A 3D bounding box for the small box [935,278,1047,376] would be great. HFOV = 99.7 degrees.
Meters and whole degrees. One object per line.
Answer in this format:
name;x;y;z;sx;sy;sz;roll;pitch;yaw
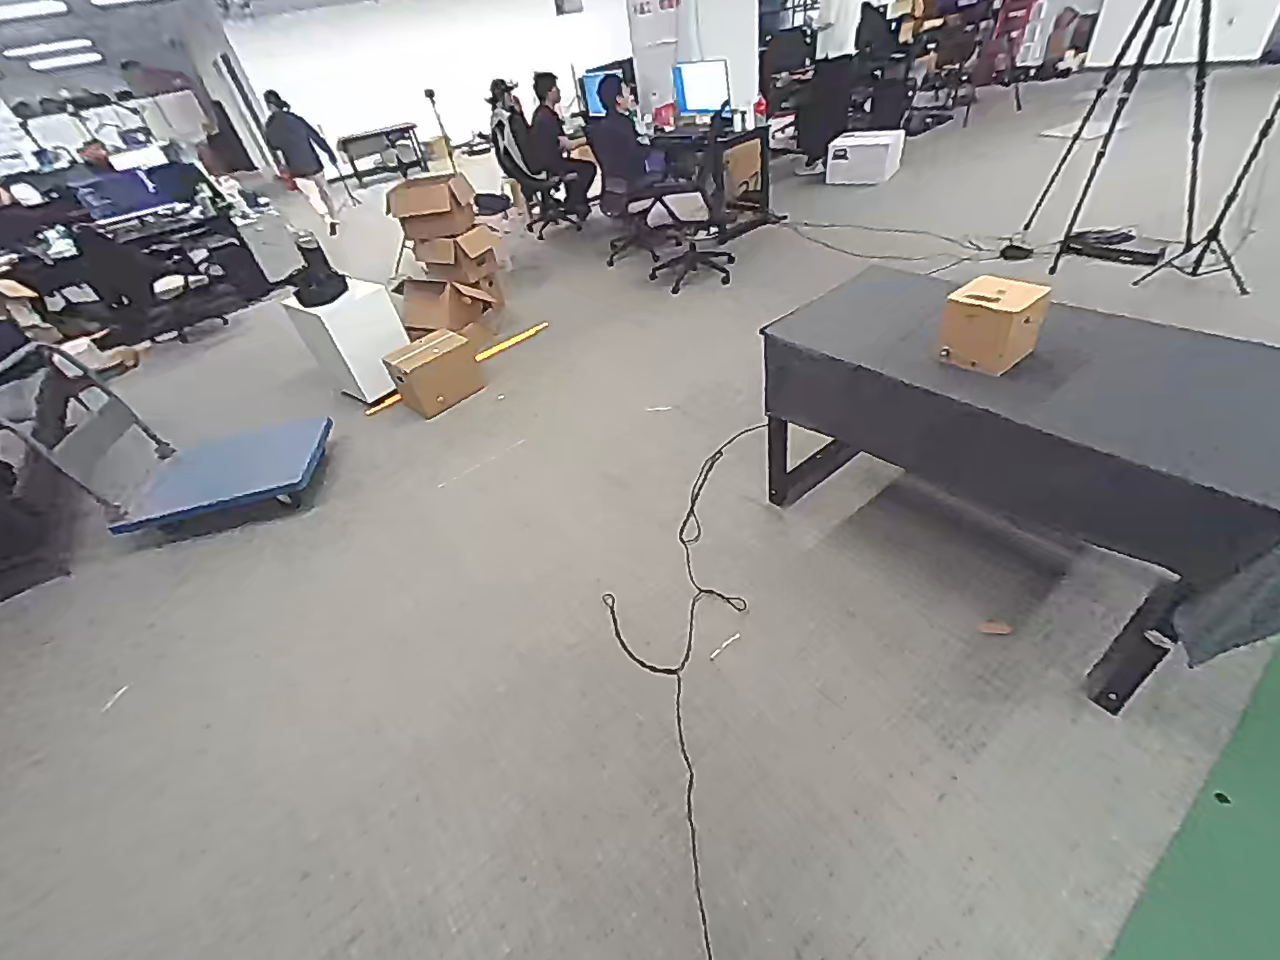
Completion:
small box;0.869;-0.382;1.356;0.179;0.176;0.168;-31;44;-23
